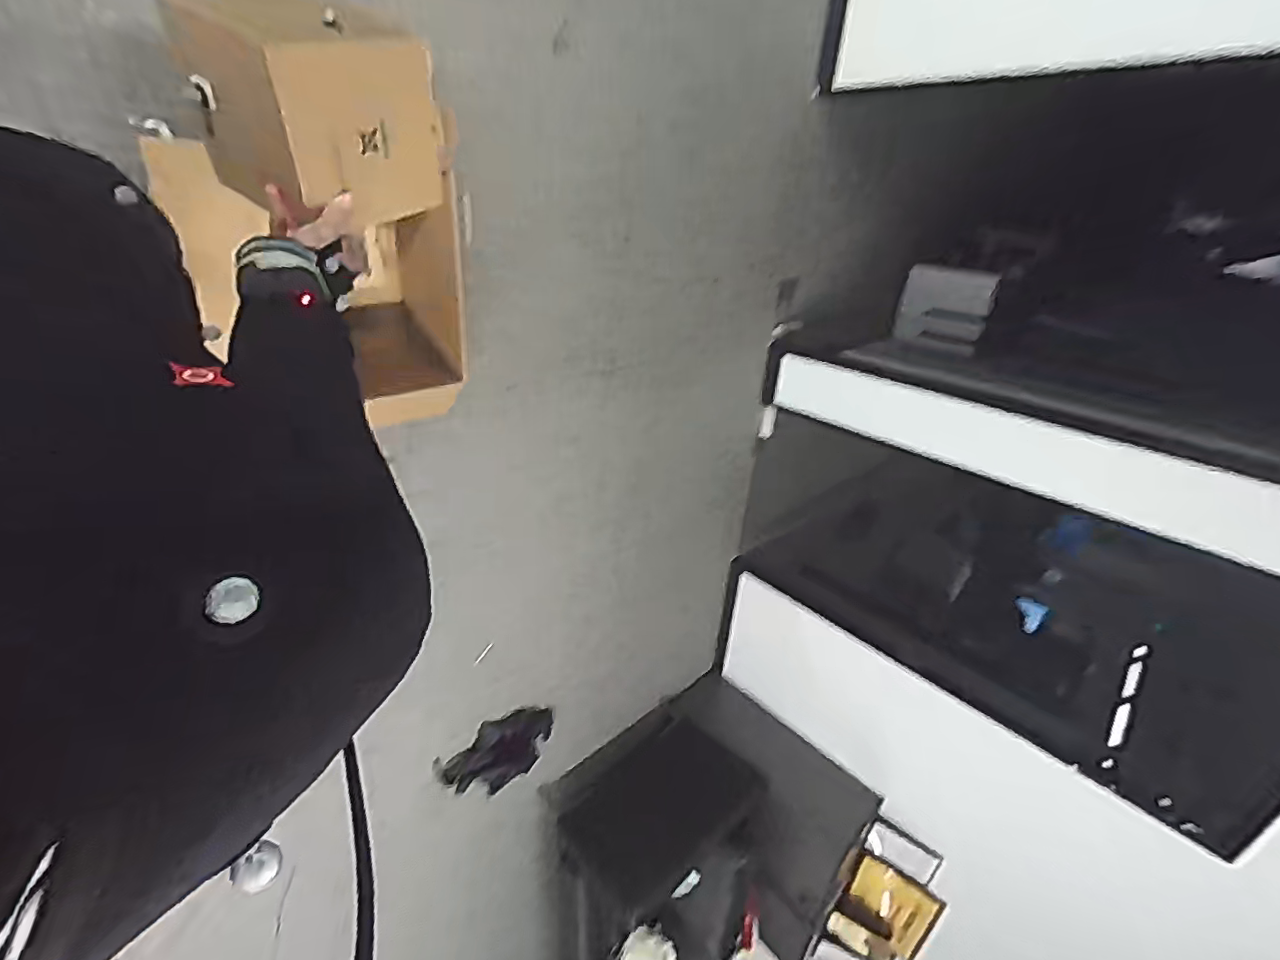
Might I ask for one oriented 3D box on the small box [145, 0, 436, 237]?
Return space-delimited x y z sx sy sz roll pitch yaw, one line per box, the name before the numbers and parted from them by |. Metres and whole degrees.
small box | -0.346 -0.390 0.569 0.179 0.176 0.168 -46 161 -39
